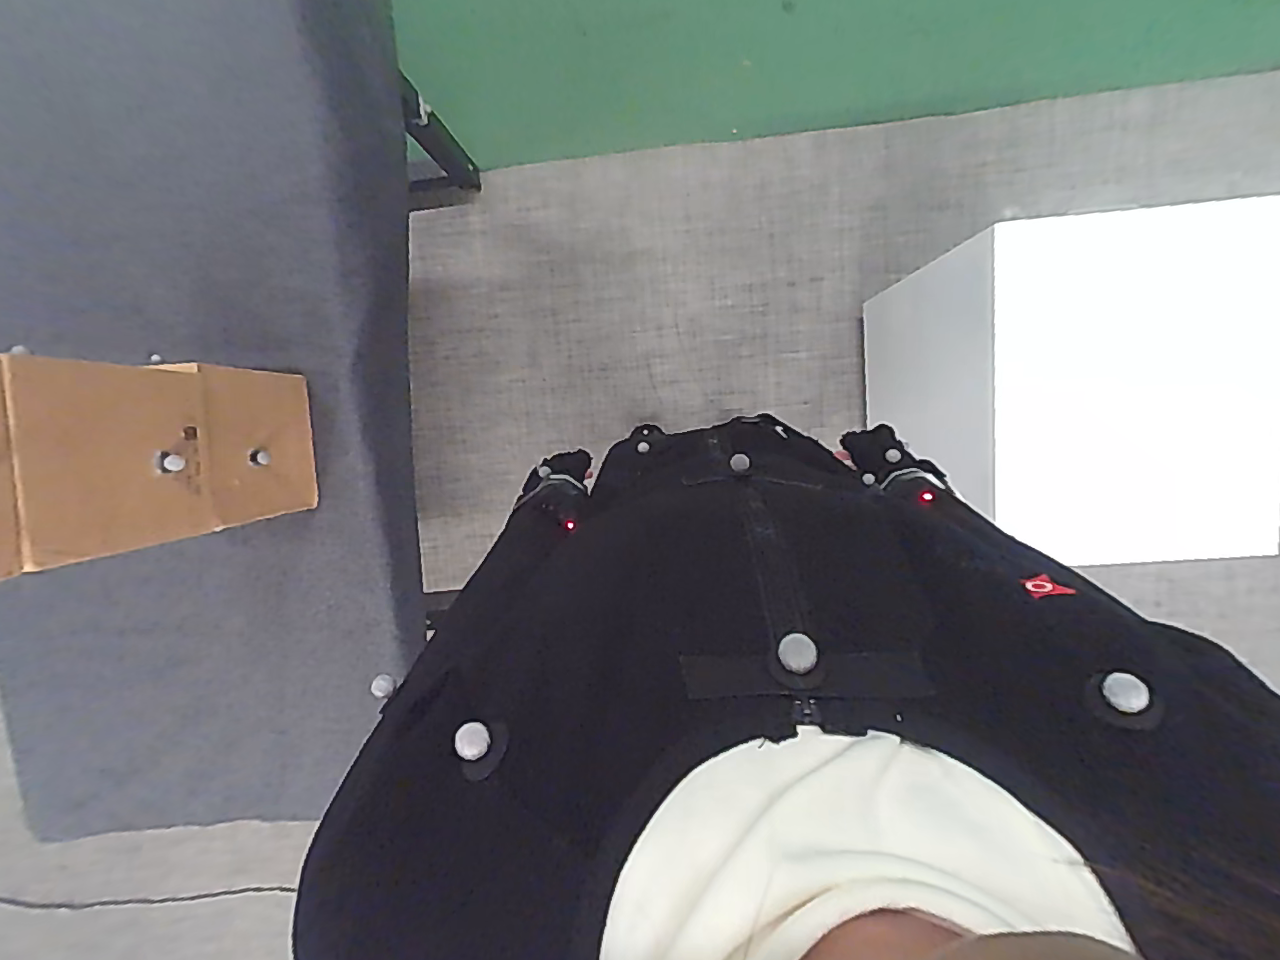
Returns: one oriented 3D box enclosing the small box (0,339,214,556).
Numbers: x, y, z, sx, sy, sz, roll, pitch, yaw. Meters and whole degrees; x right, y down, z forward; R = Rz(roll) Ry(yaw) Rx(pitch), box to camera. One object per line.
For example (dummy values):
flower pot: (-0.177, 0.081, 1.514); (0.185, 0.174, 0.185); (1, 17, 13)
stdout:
small box: (-0.544, -0.030, 0.492); (0.179, 0.176, 0.168); (-2, 96, 7)

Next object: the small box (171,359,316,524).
small box: (-0.525, -0.049, 0.655); (0.168, 0.176, 0.179); (-1, 97, 5)
